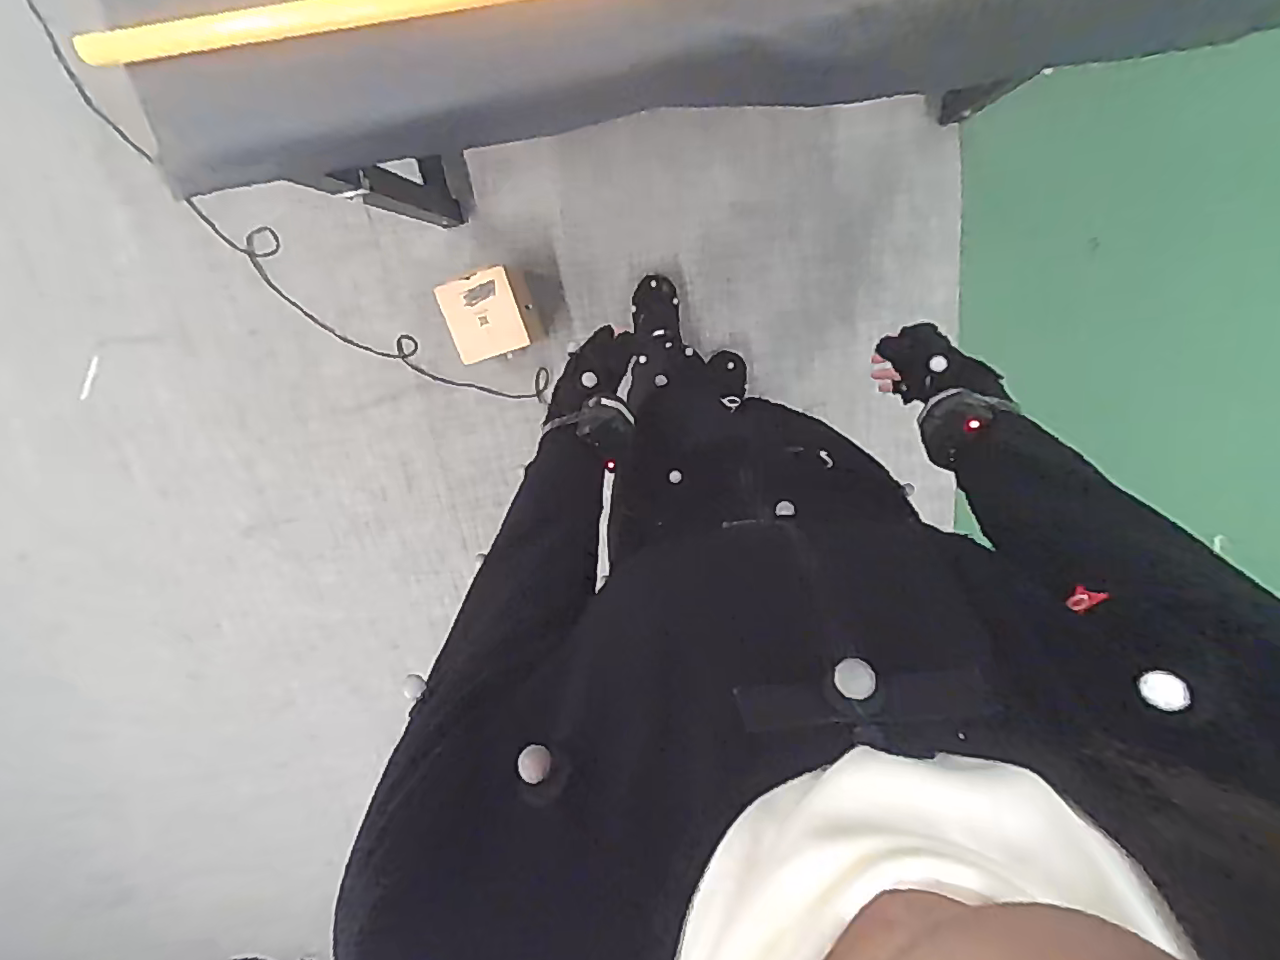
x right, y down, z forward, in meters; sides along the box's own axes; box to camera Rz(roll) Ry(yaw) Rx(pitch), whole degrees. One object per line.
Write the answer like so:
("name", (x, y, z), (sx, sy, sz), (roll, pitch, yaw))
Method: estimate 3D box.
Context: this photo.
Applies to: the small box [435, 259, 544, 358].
("small box", (-0.341, -0.396, 1.255), (0.168, 0.176, 0.179), (-15, 108, 8))
